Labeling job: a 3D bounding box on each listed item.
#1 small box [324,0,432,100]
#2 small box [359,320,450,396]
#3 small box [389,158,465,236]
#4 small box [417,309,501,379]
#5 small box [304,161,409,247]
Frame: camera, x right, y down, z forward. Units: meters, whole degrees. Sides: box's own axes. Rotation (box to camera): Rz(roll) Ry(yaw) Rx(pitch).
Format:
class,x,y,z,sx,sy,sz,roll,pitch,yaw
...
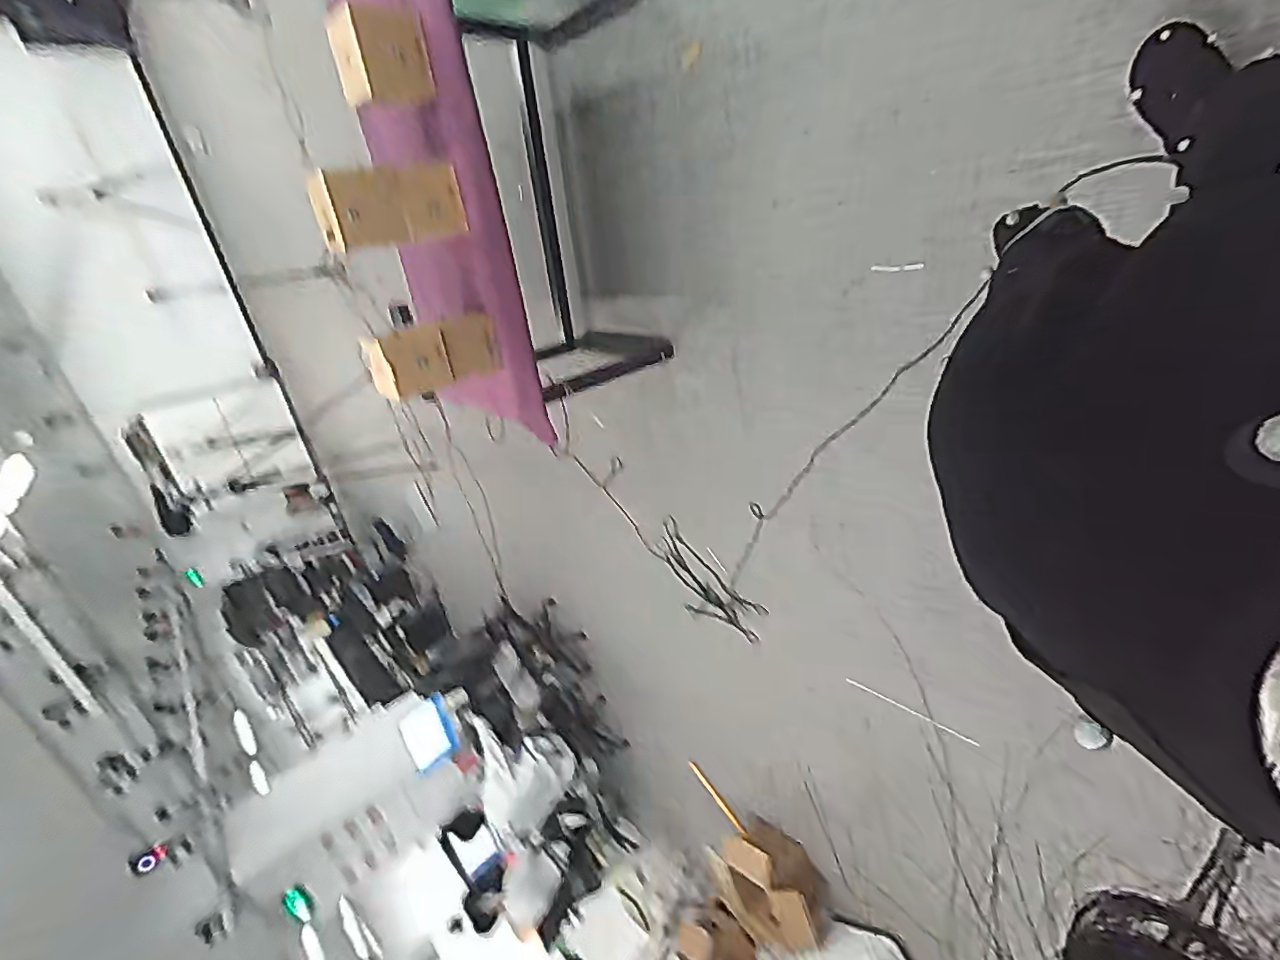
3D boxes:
class,x,y,z,sx,sy,sz,roll,pitch,yaw
small box,-0.628,-1.039,1.315,0.179,0.176,0.168,24,131,42
small box,-0.658,-0.351,1.533,0.179,0.176,0.168,20,128,43
small box,-0.592,-0.761,1.461,0.179,0.176,0.168,20,128,46
small box,-0.547,-0.416,1.635,0.179,0.176,0.168,18,127,44
small box,-0.711,-0.697,1.367,0.168,0.176,0.179,23,129,43
